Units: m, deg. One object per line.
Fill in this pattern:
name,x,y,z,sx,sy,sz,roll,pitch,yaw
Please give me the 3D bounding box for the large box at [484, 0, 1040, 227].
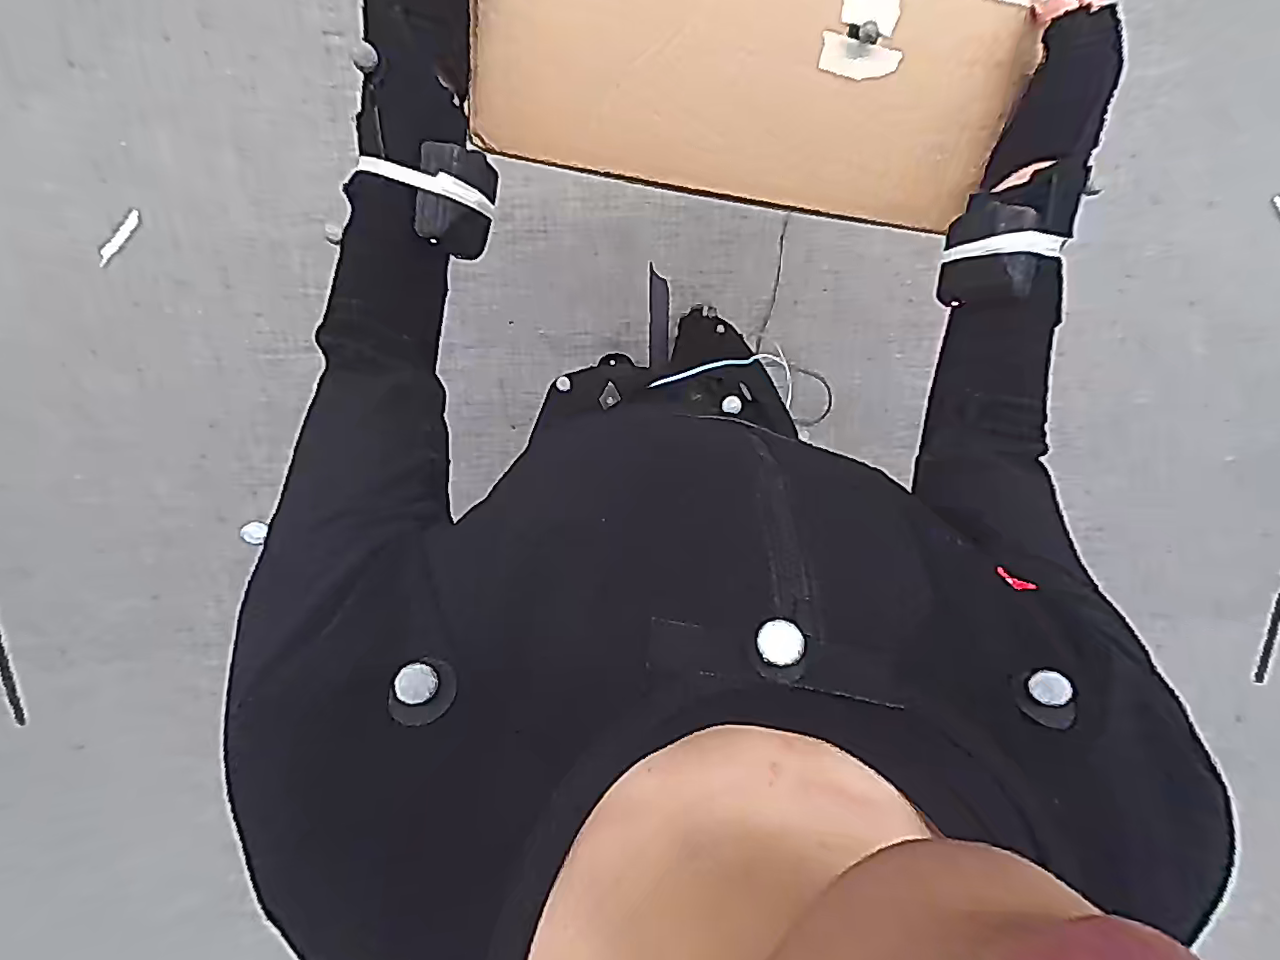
large box,0.083,-0.440,0.497,0.408,0.320,0.320,6,119,-9
